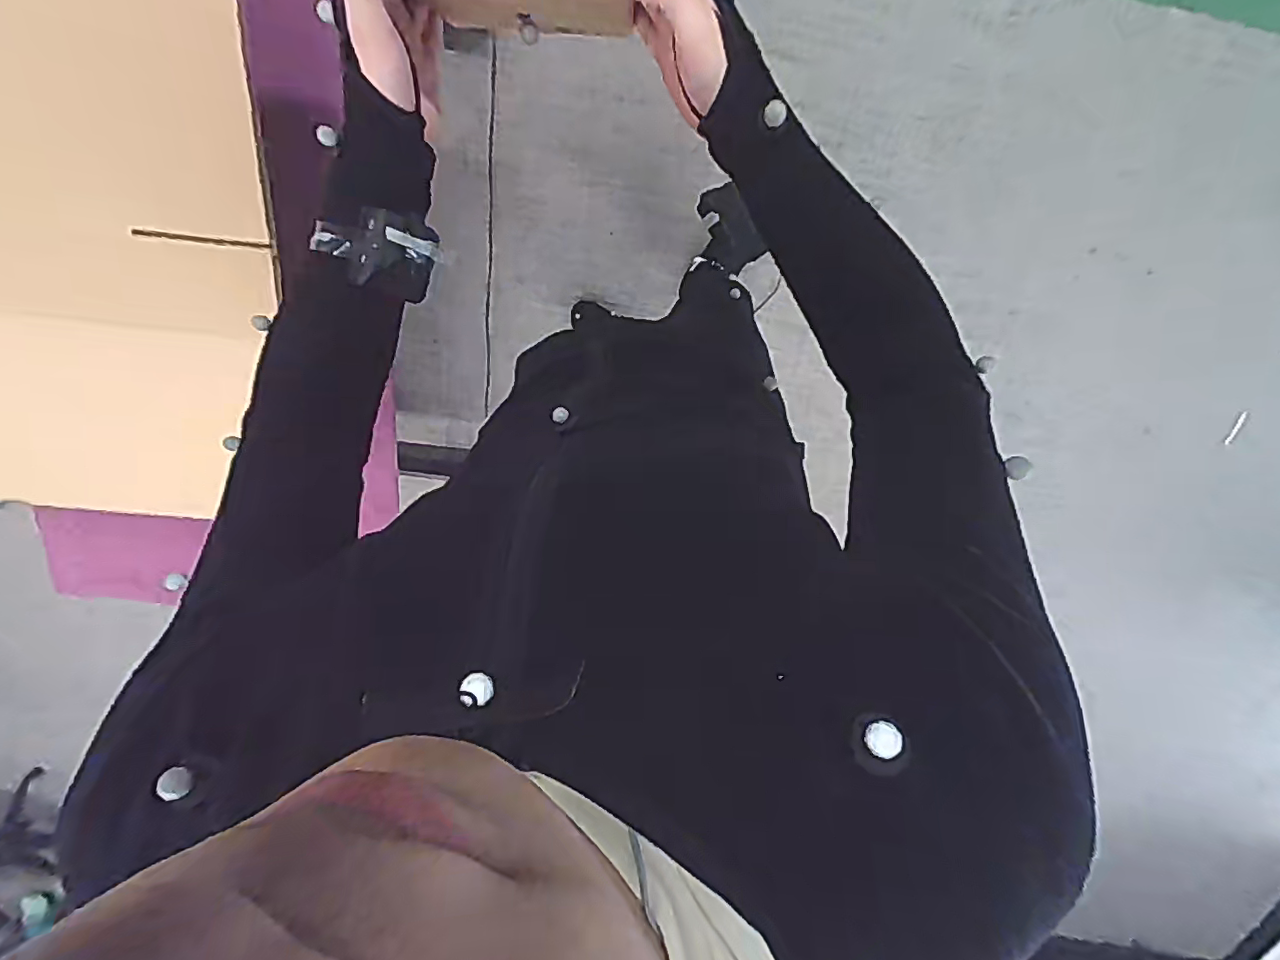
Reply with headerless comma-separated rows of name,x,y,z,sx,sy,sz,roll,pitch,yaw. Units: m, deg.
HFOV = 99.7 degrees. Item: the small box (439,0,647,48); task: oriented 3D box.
small box,-0.074,-0.427,0.368,0.168,0.176,0.179,4,120,0
